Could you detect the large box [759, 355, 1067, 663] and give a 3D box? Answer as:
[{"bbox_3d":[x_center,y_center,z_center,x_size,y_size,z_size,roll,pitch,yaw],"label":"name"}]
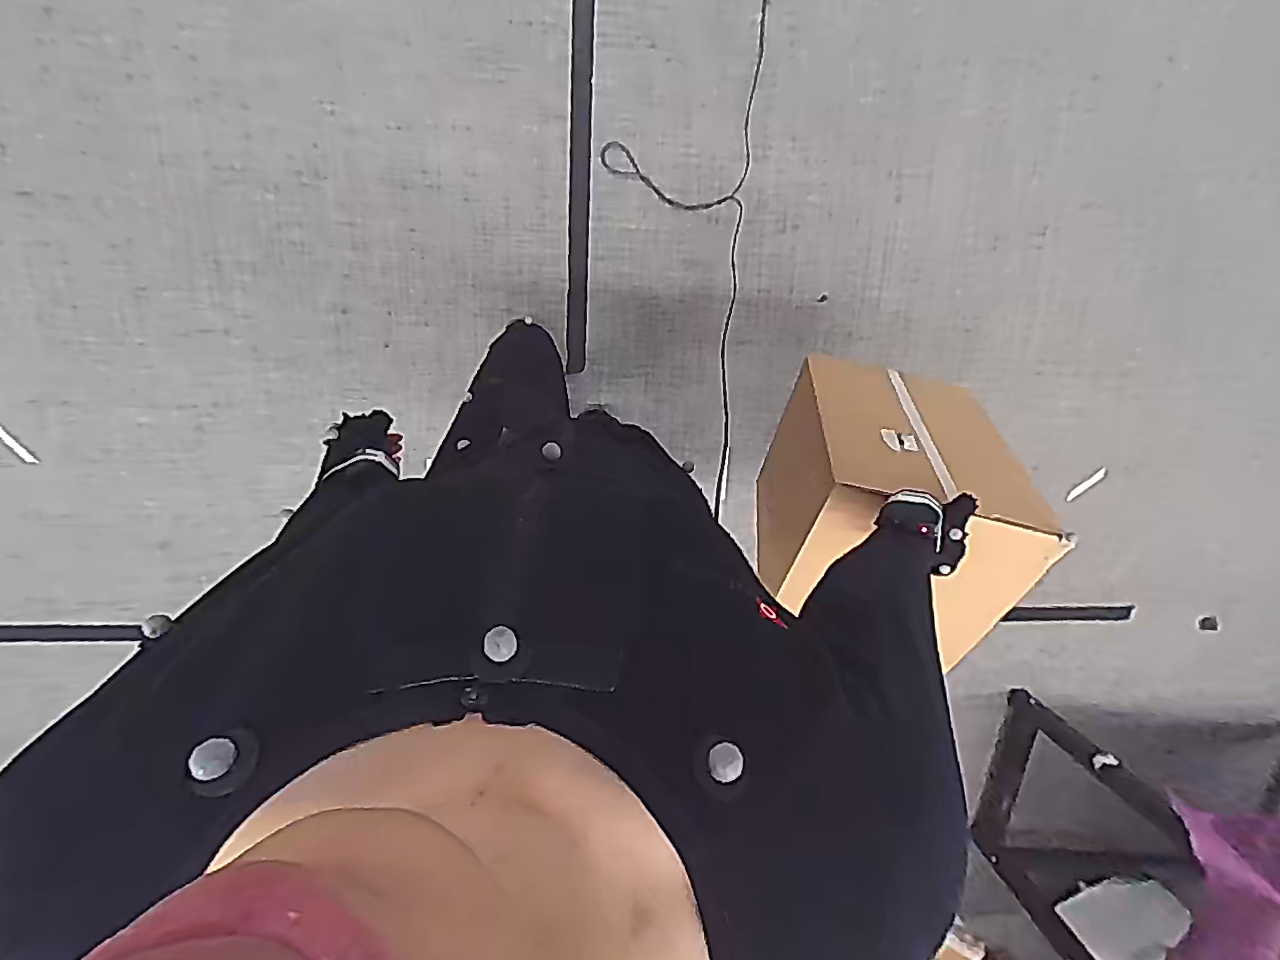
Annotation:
[{"bbox_3d":[0.408,0.036,0.946,0.320,0.408,0.320,13,130,1],"label":"large box"}]
